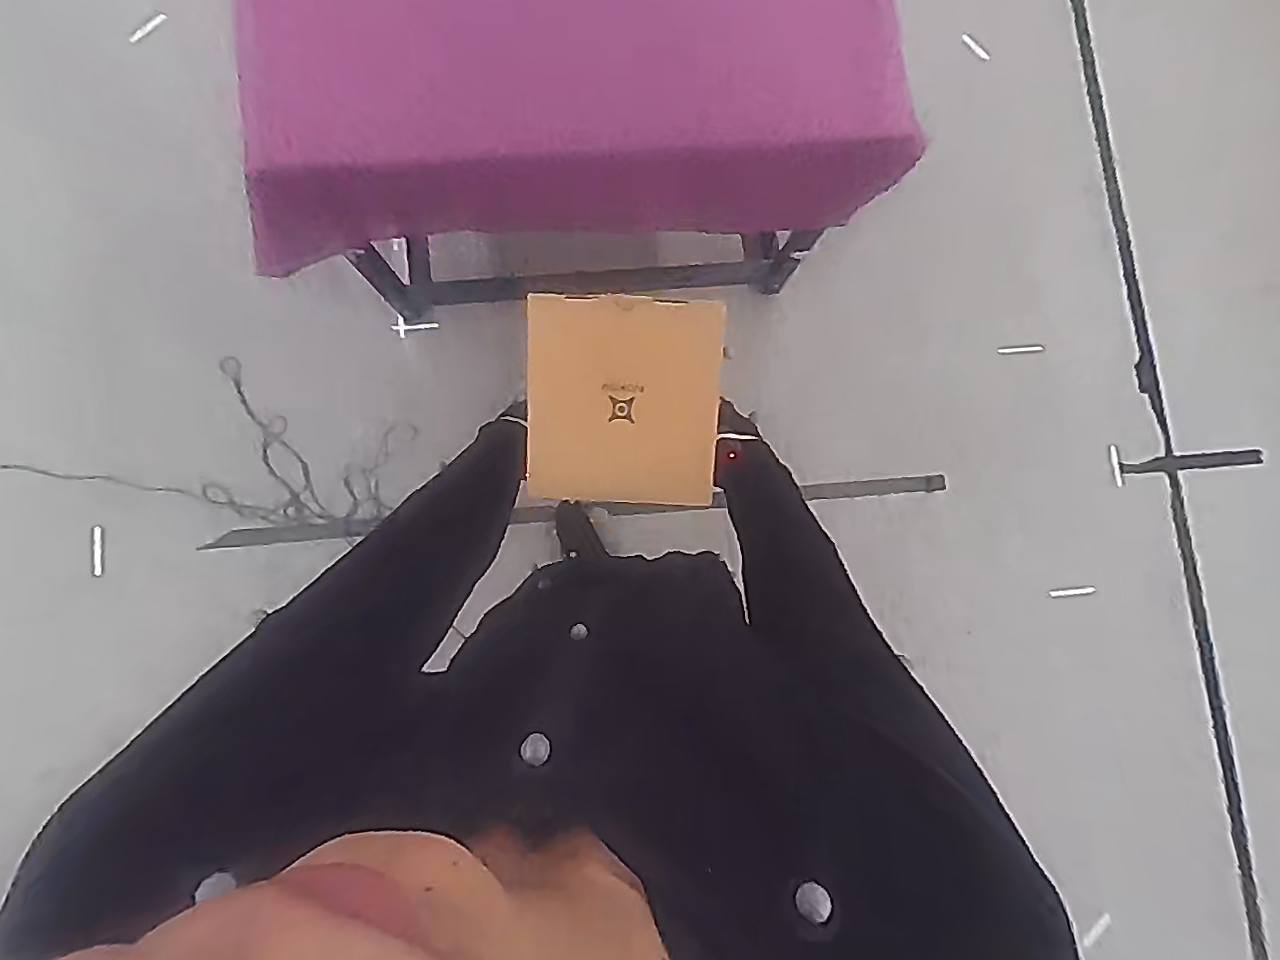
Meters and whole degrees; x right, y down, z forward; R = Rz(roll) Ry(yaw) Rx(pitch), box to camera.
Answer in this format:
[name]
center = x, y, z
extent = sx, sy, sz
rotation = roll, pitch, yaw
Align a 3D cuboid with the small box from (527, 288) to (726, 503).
[small box]
center = -0.010, -0.085, 0.535
extent = 0.168, 0.176, 0.179
rotation = 3, 101, 2
